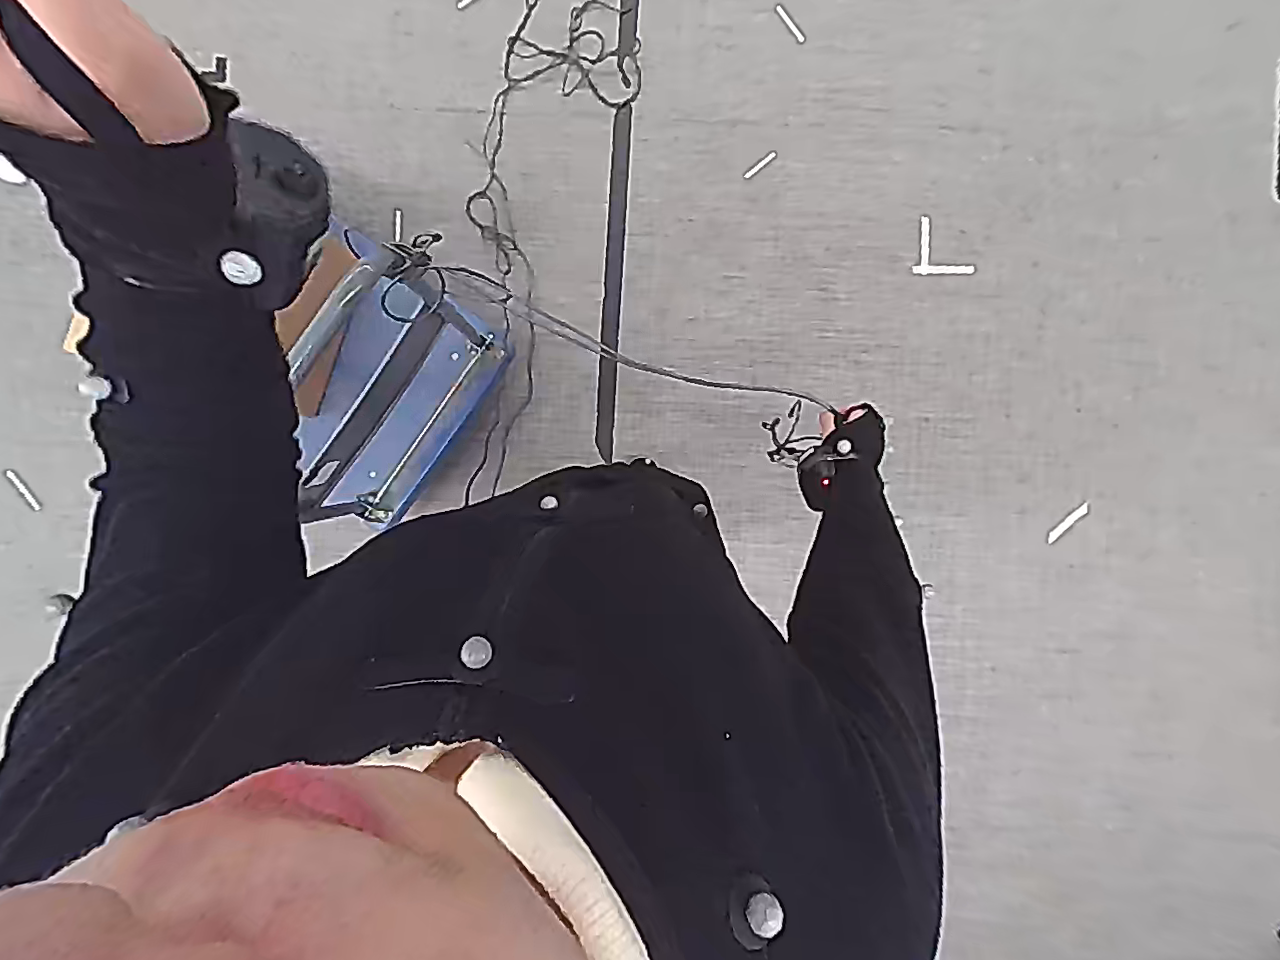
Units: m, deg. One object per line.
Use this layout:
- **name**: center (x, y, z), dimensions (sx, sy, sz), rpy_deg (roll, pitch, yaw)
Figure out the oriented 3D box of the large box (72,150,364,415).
- **large box**: center (-0.868, -0.387, 1.166), dimensions (0.320, 0.320, 0.408), rpy_deg (19, 90, -1)
